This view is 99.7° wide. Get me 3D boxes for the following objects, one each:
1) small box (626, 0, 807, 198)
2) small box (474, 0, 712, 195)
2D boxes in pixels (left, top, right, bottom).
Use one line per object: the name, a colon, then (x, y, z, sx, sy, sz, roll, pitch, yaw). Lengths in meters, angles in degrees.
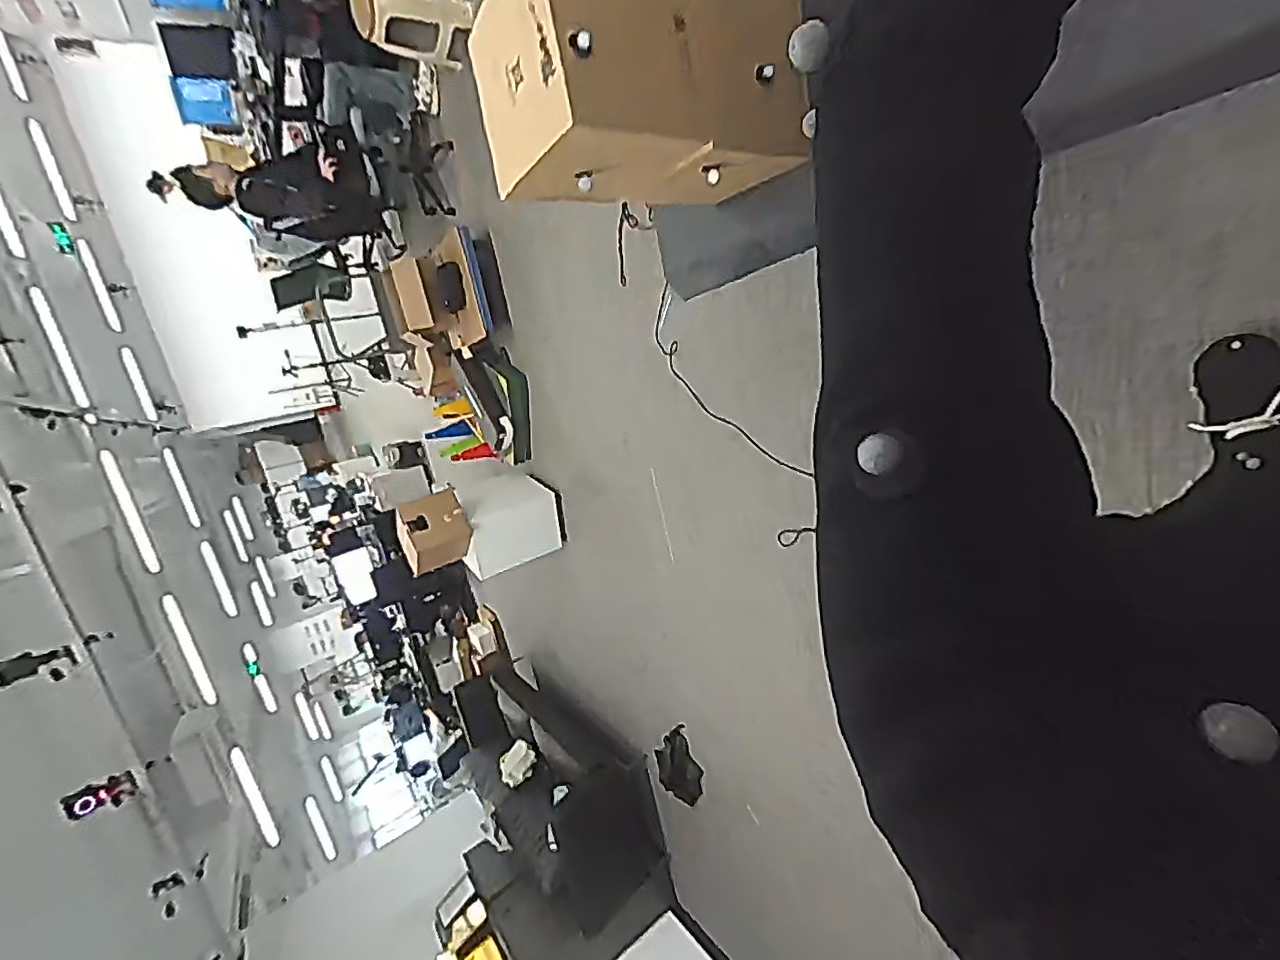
small box: (0.084, -0.454, 0.651, 0.179, 0.176, 0.168, 10, 113, 54)
small box: (-0.050, -0.414, 0.566, 0.179, 0.176, 0.168, 4, 109, 56)
